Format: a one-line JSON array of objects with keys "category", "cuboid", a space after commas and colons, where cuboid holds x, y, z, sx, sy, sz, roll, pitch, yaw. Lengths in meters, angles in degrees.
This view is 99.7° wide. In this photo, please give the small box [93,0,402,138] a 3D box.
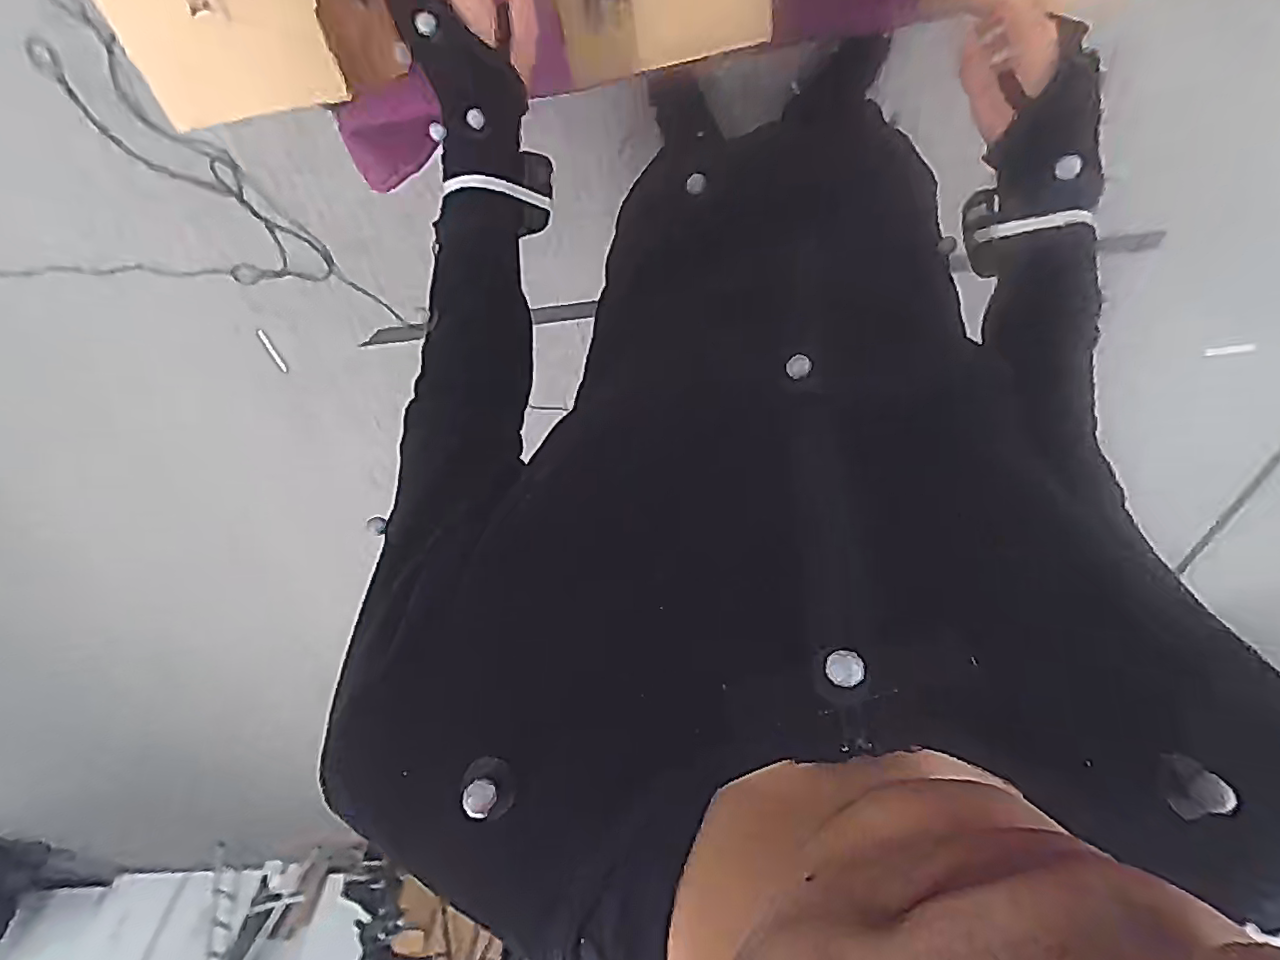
[{"category": "small box", "cuboid": [-0.356, -0.439, 0.499, 0.179, 0.176, 0.168, -8, 132, 6]}]

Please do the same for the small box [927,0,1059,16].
[{"category": "small box", "cuboid": [0.348, -0.511, 0.437, 0.168, 0.176, 0.179, -10, 133, 9]}]
